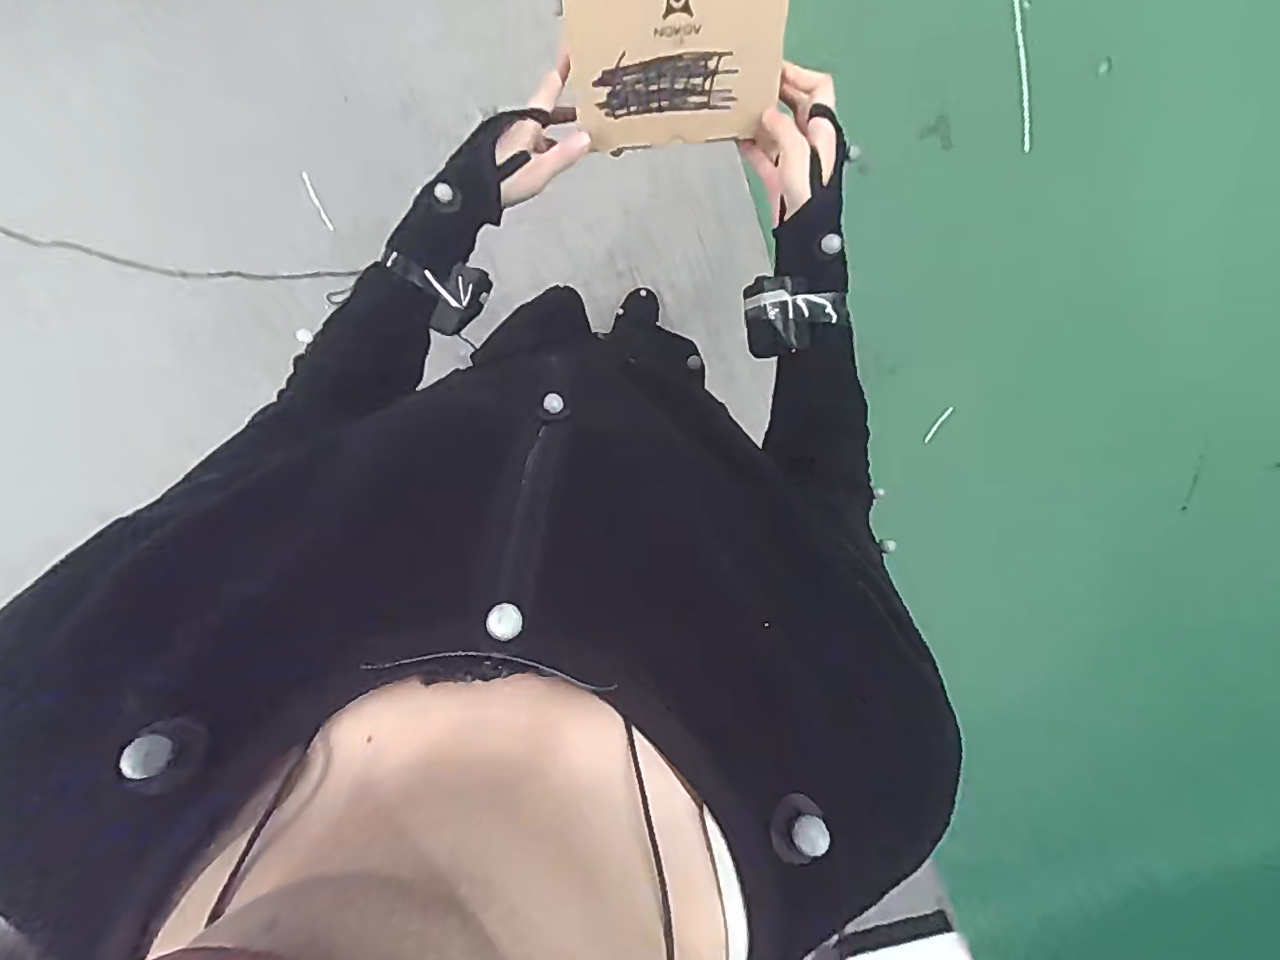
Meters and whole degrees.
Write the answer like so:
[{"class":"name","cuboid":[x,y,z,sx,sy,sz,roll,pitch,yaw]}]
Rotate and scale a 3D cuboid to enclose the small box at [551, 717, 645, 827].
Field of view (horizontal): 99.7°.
[{"class":"small box","cuboid":[-0.092,0.695,1.264,0.168,0.176,0.179,-20,108,6]}]
